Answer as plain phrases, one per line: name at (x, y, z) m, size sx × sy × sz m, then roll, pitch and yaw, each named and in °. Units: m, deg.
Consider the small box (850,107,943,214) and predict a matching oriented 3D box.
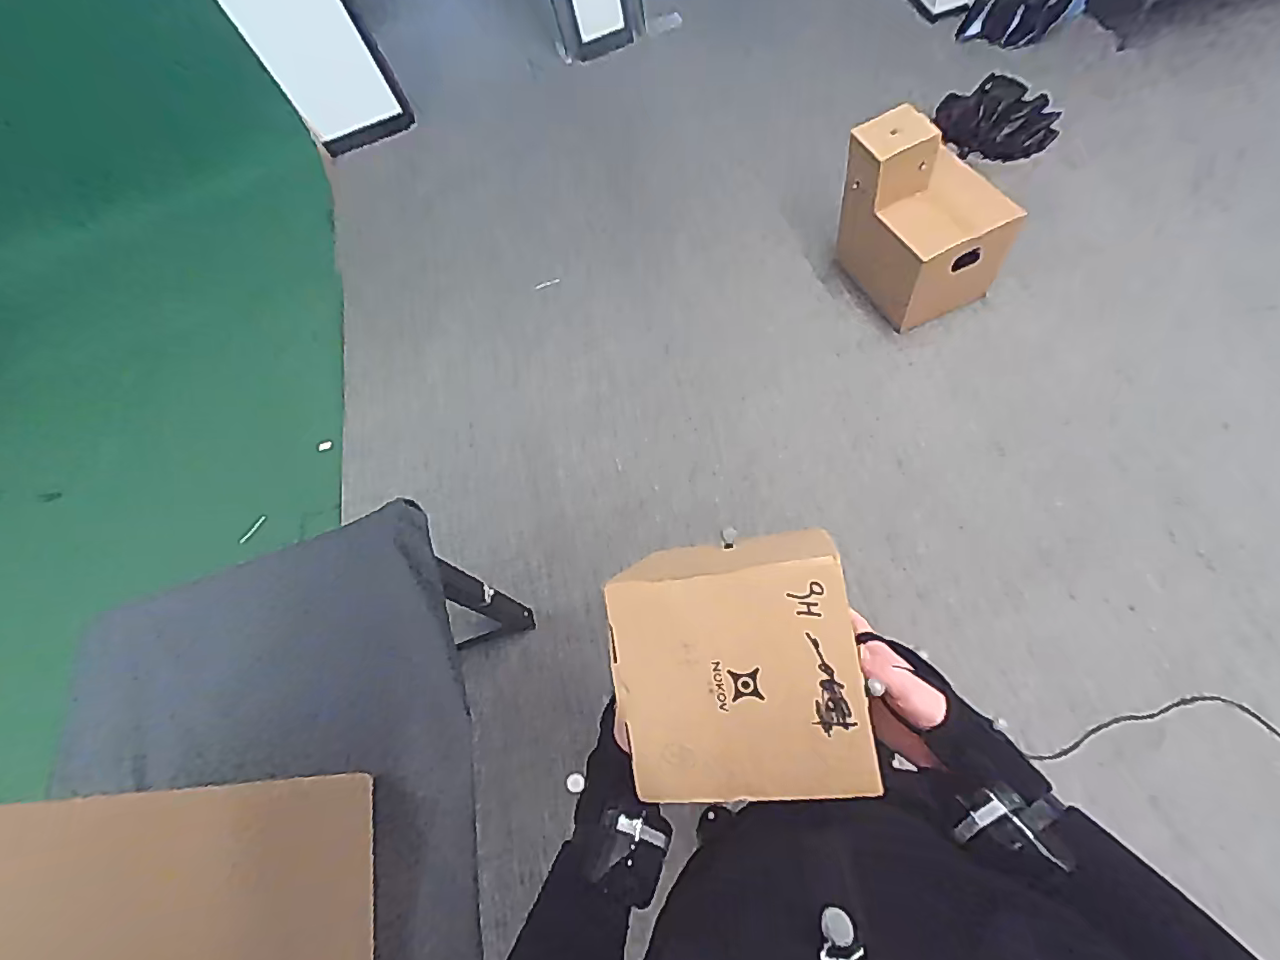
small box at (0.722, -0.908, 1.547) m, size 0.179 × 0.176 × 0.168 m, roll -25°, pitch 61°, yaw 5°
